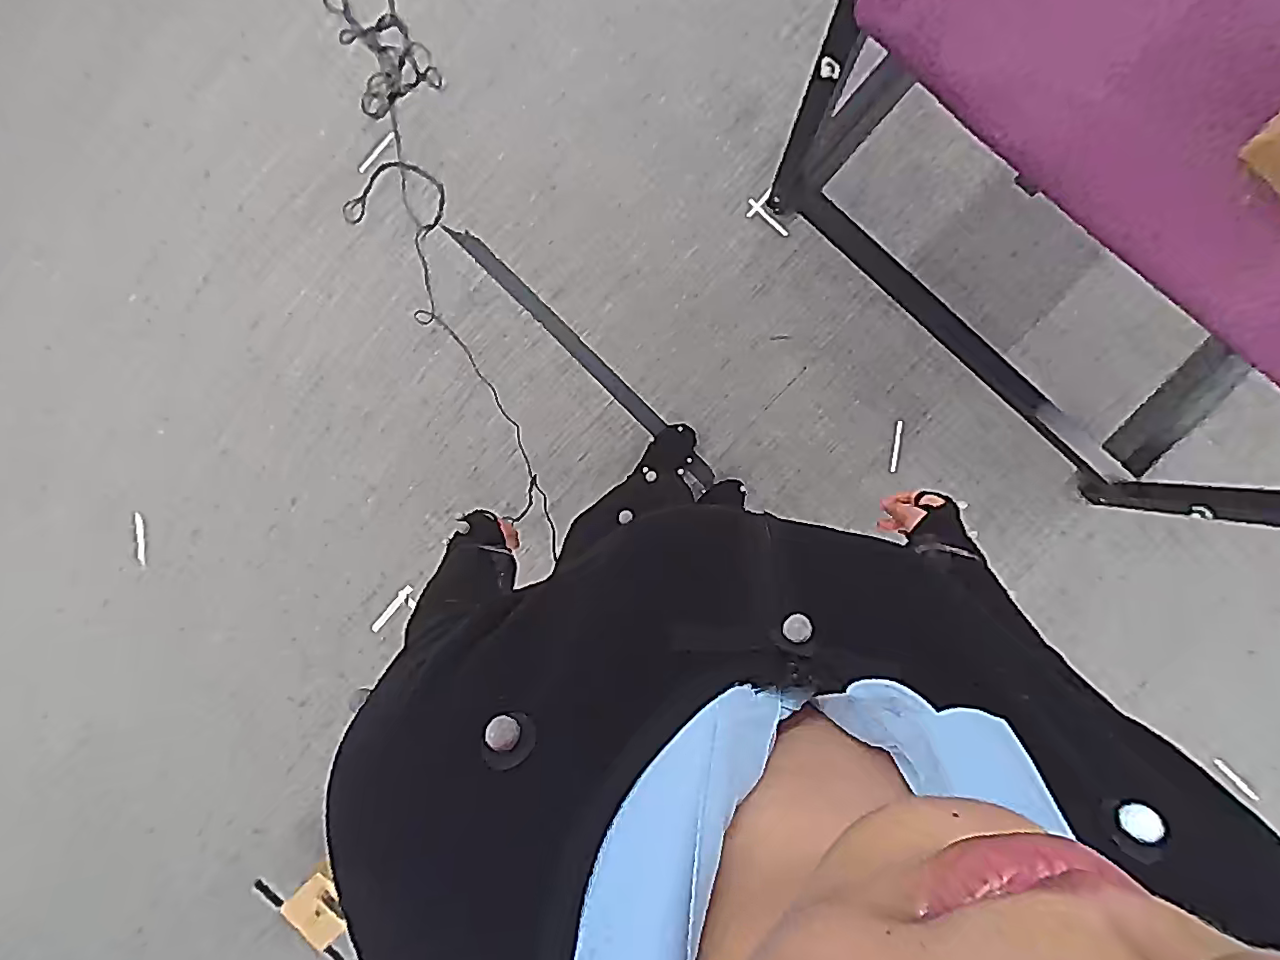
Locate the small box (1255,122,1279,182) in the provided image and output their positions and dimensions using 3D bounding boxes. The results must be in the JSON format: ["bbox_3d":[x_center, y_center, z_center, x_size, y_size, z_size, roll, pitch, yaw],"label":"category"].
[{"bbox_3d":[0.881,-0.409,0.601,0.168,0.176,0.179,-44,90,5],"label":"small box"}]
